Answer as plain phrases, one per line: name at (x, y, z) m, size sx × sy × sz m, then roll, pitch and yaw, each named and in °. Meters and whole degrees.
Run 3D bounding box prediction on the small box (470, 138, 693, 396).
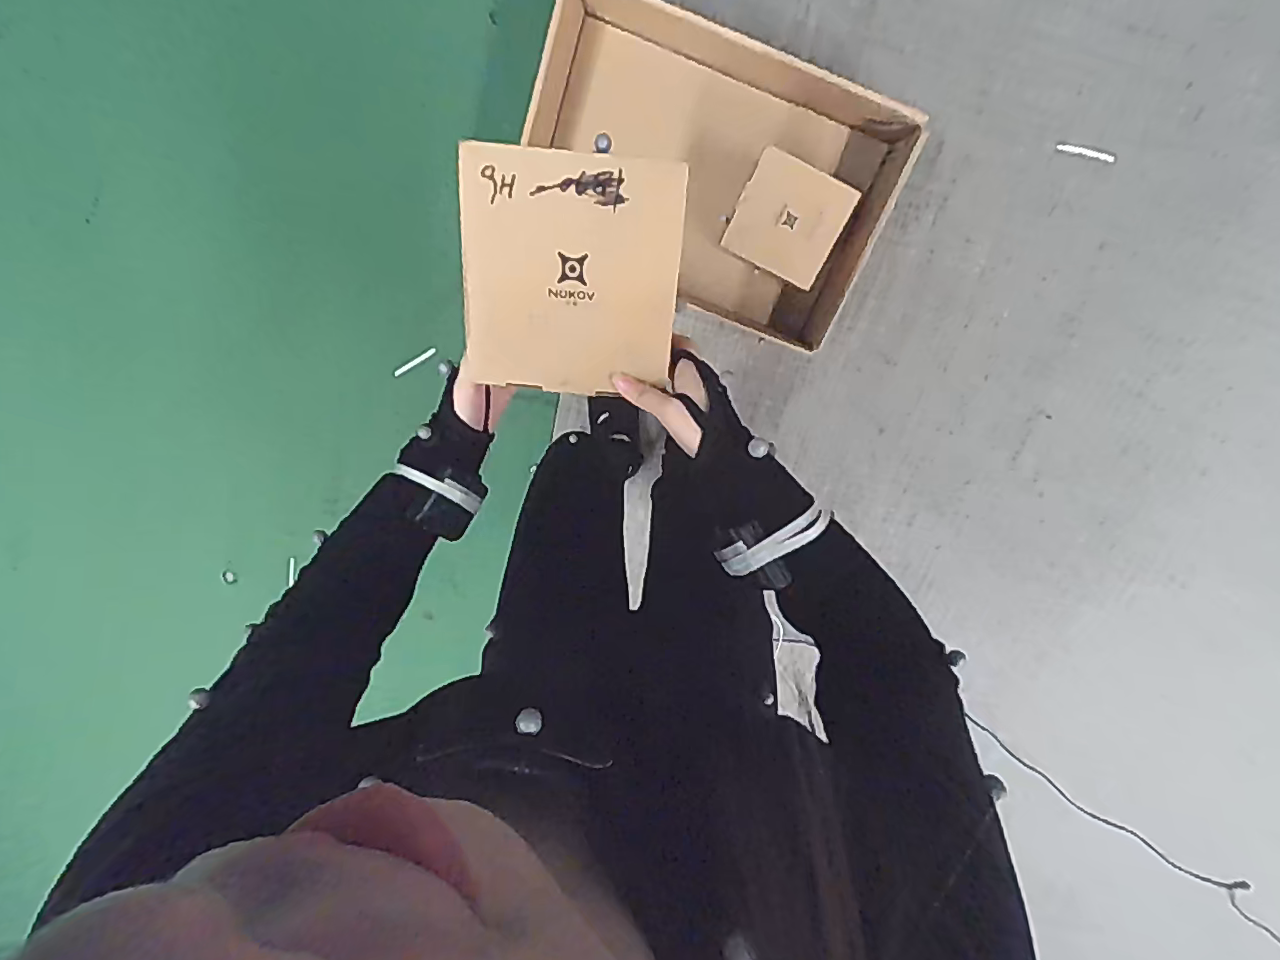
small box at (-0.049, -0.191, 0.497) m, size 0.168 × 0.176 × 0.179 m, roll 5°, pitch 114°, yaw -2°
